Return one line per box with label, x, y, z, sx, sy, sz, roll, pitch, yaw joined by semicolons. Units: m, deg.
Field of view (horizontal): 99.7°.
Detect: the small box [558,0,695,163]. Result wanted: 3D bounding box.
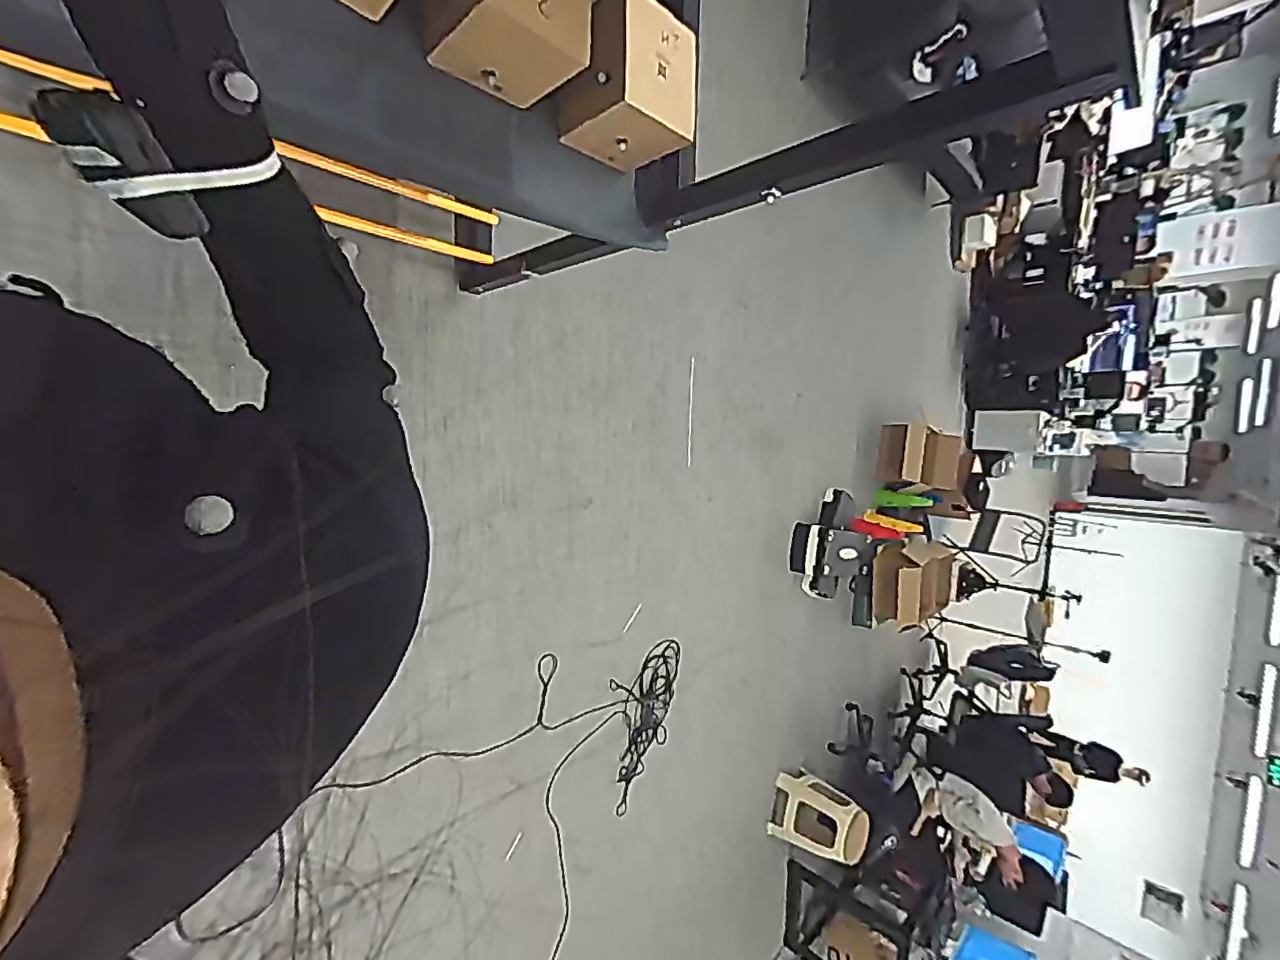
small box;-0.025;-0.672;0.916;0.168;0.176;0.179;-6;99;-46
